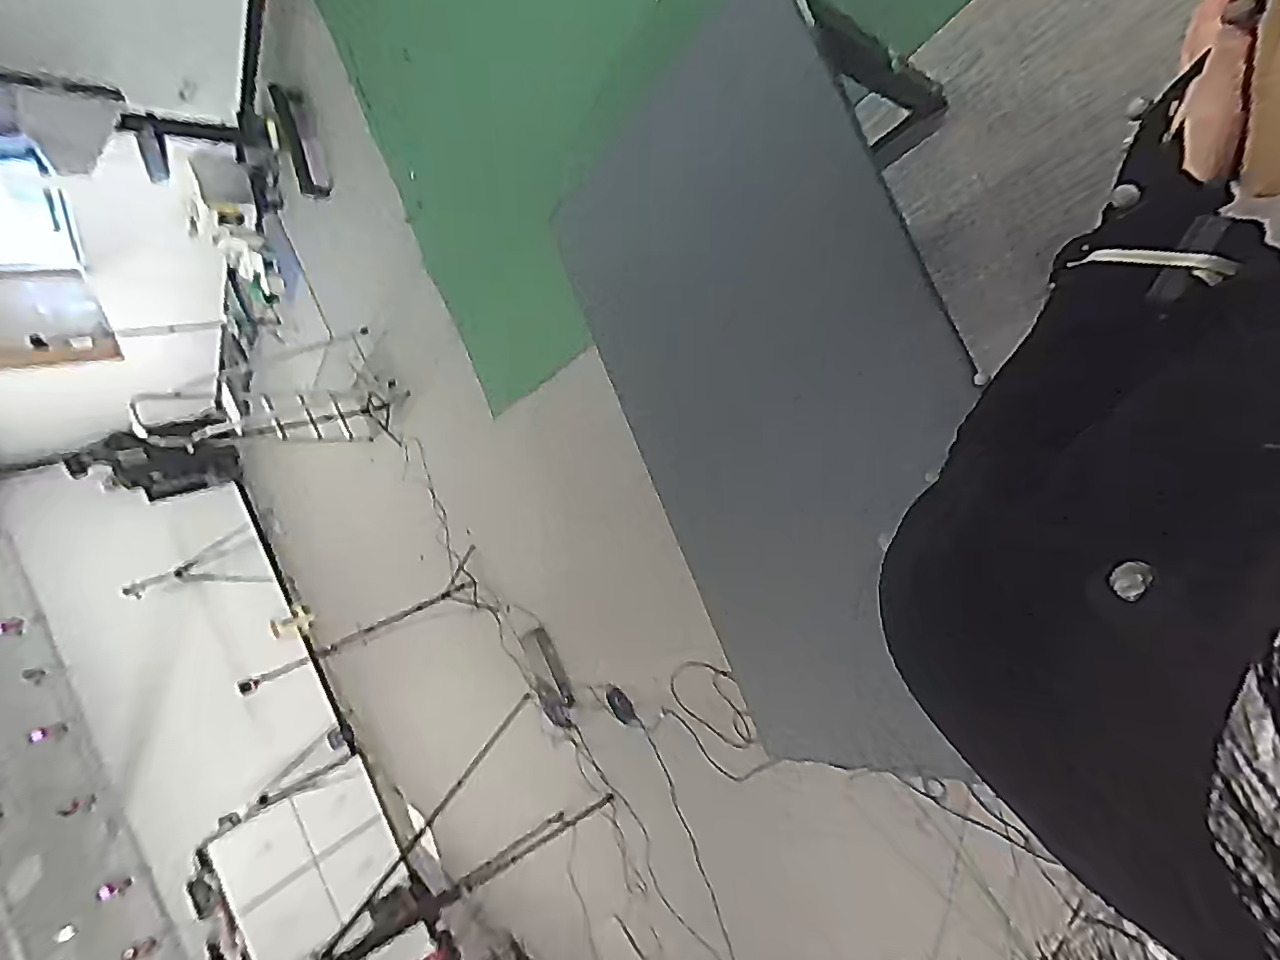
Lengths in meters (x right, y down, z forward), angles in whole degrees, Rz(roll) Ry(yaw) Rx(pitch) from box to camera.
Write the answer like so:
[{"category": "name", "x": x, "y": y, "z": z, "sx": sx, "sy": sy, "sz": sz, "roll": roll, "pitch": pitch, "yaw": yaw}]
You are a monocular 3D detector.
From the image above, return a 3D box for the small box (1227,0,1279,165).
[{"category": "small box", "x": 0.441, "y": -0.288, "z": 0.276, "sx": 0.168, "sy": 0.176, "sz": 0.179, "roll": 1, "pitch": 123, "yaw": 38}]
